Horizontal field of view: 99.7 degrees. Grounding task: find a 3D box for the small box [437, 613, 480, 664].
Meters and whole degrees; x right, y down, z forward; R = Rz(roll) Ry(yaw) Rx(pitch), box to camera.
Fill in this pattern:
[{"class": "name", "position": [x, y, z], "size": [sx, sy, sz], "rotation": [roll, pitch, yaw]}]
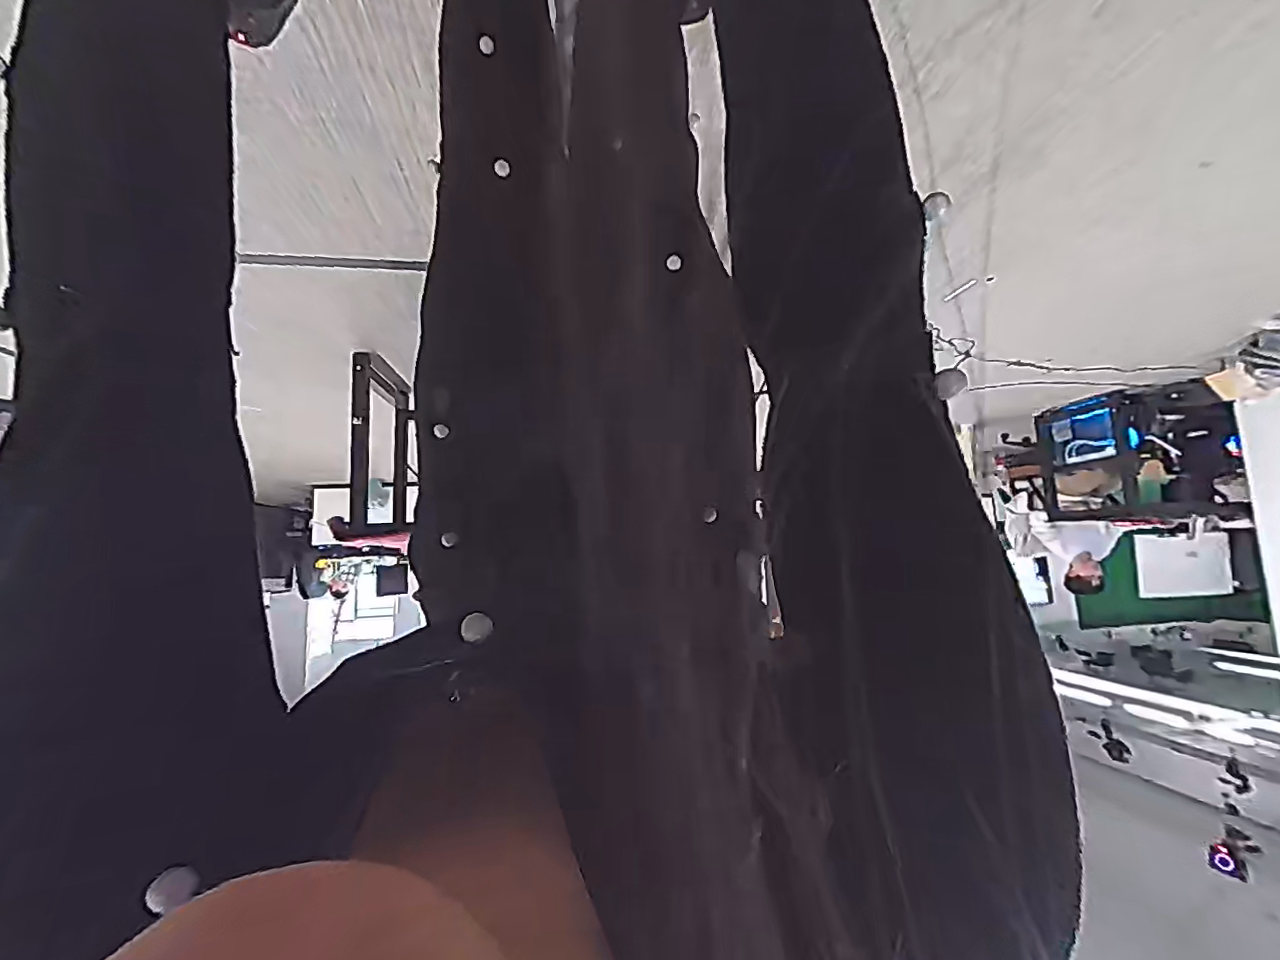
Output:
[{"class": "small box", "position": [-0.753, 0.654, 2.247], "size": [0.168, 0.176, 0.179], "rotation": [1, 173, -16]}]
